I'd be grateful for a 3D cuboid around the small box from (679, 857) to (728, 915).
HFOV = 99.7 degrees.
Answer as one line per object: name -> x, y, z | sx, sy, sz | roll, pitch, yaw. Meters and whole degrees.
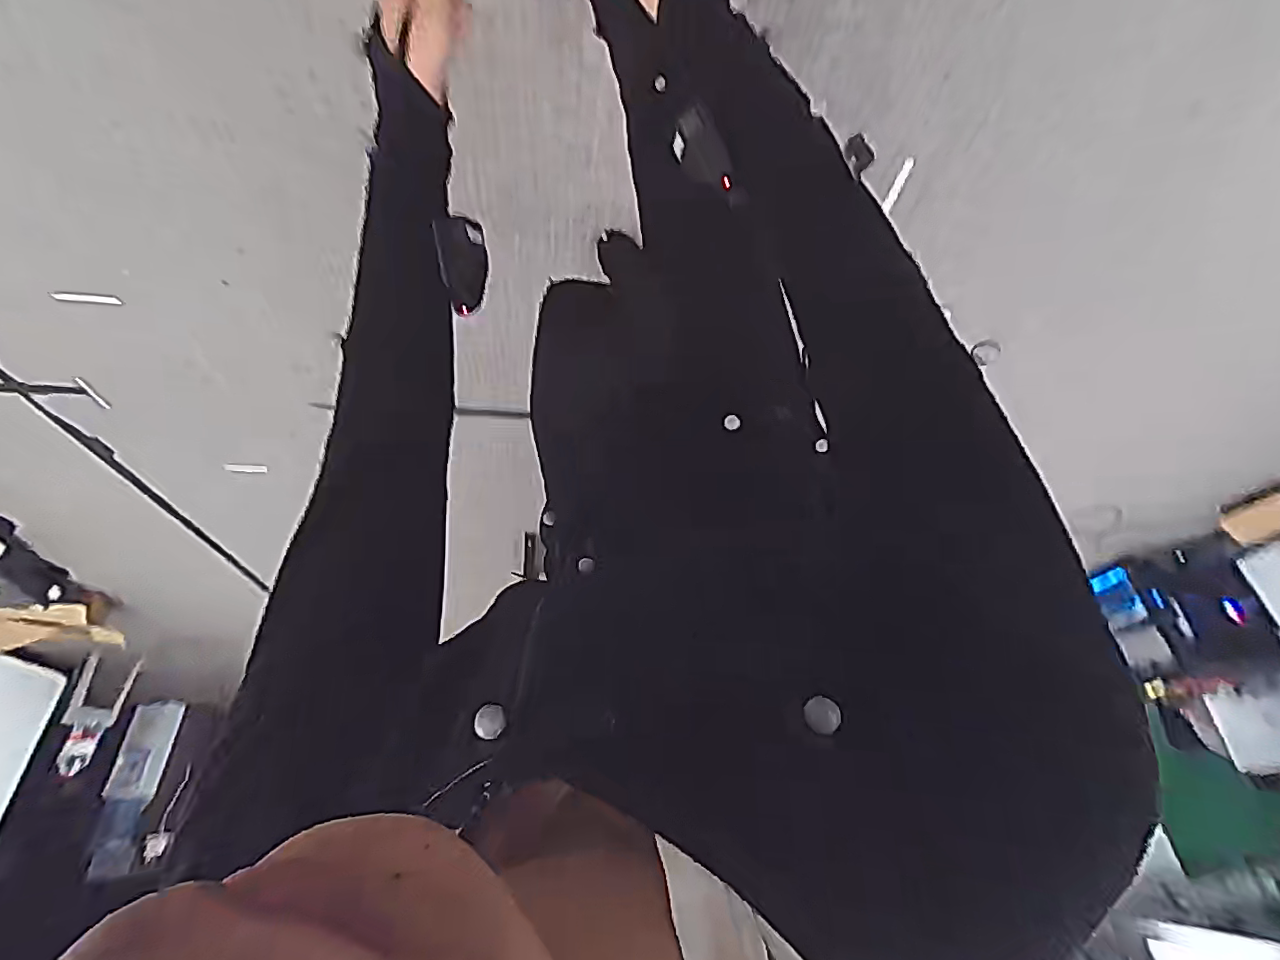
small box -> 0.266, 1.727, 2.307 | 0.168, 0.176, 0.179 | -1, 150, -6
